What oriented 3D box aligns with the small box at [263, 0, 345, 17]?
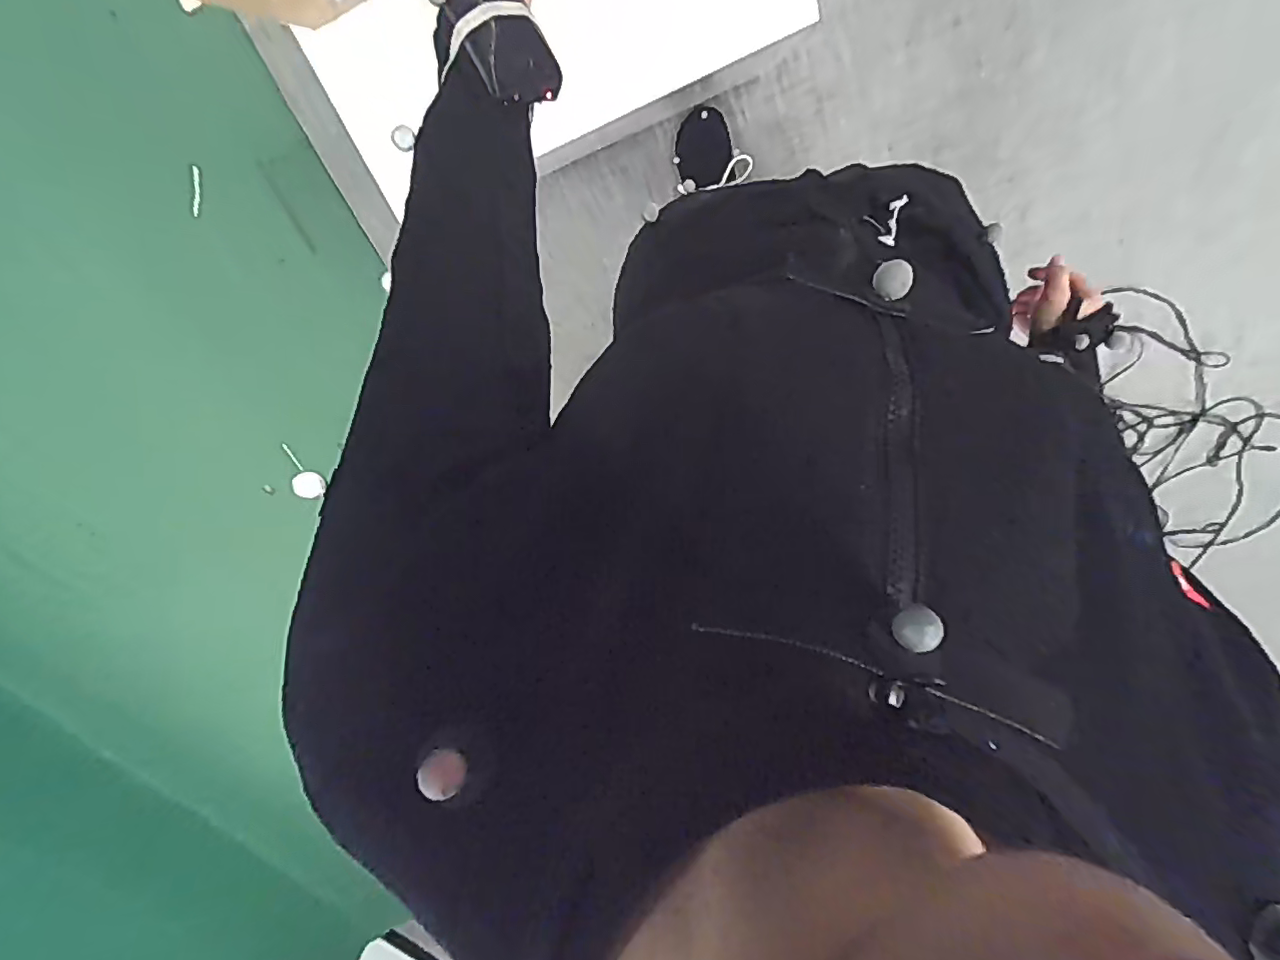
[{"bbox_3d":[-0.305,-0.517,0.428,0.168,0.176,0.179,-15,121,16],"label":"small box"}]
